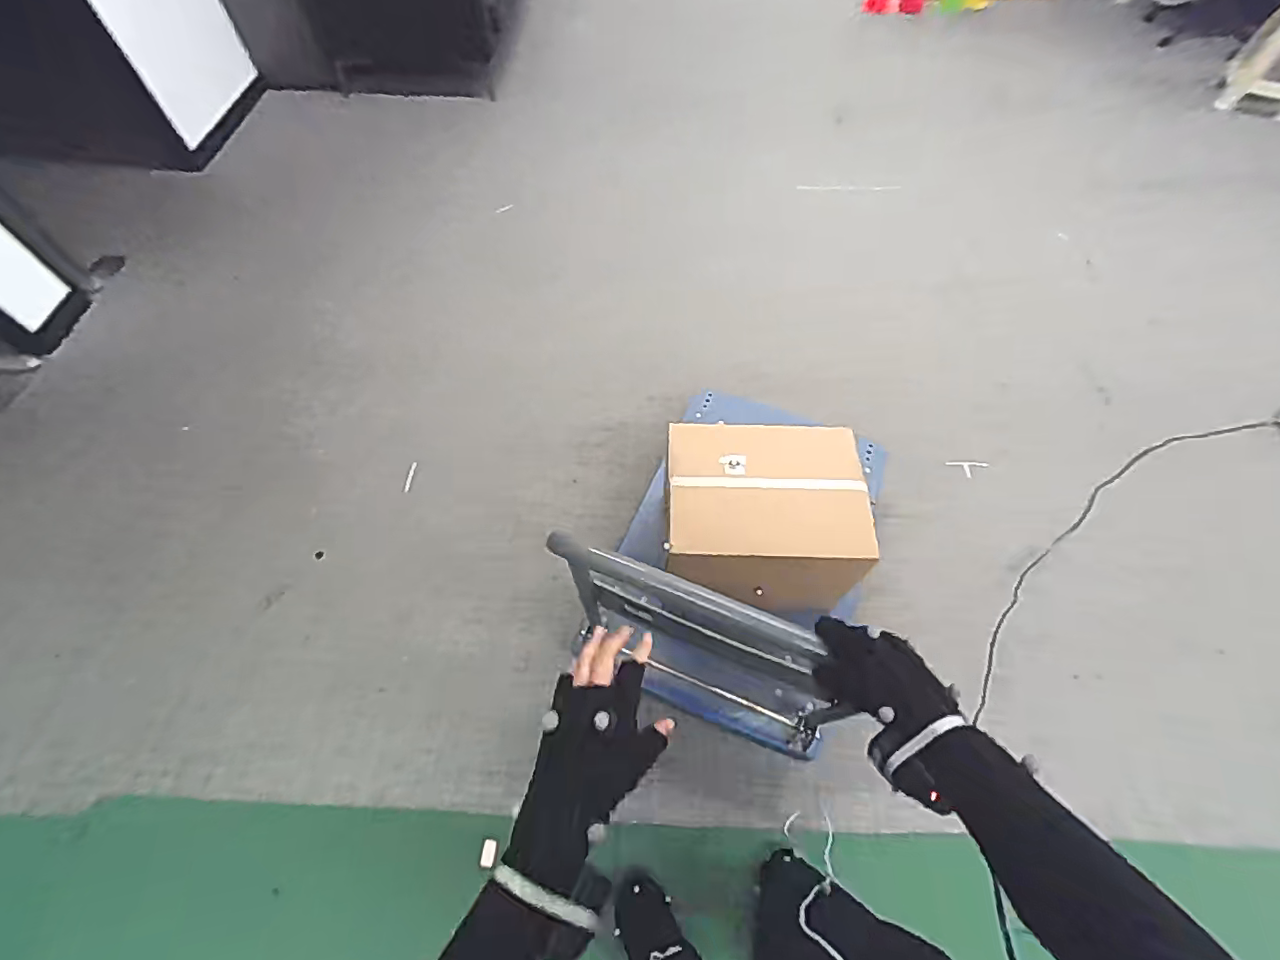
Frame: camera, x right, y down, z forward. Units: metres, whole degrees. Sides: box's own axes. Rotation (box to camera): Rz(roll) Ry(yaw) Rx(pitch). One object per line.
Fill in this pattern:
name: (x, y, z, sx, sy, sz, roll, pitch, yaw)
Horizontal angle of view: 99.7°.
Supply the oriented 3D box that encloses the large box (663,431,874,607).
large box: (0.259, 0.101, 1.244, 0.408, 0.320, 0.320, 0, 58, 1)
